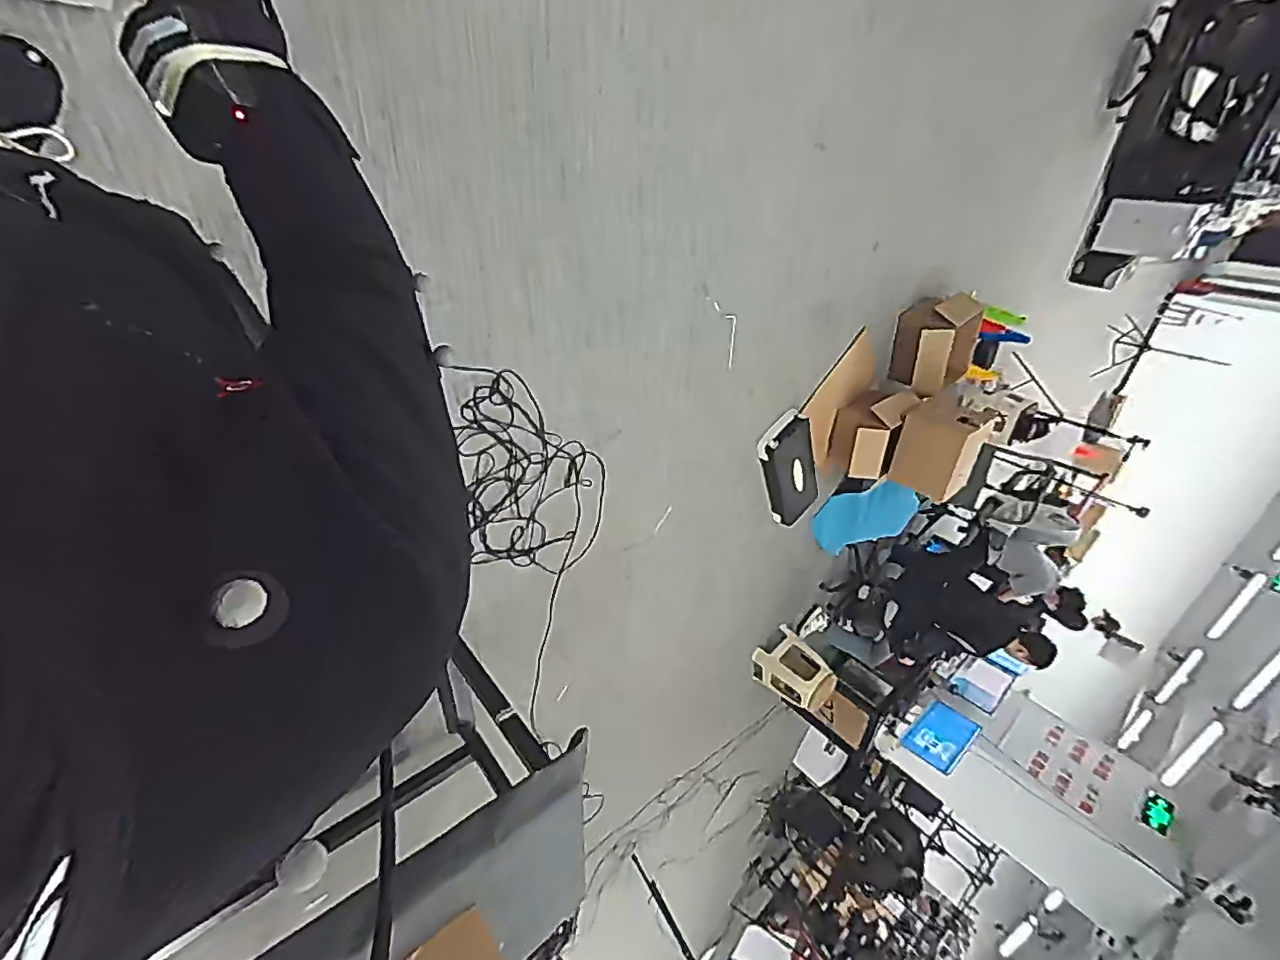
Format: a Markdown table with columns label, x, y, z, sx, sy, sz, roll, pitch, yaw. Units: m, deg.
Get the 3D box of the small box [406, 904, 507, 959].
| label | x | y | z | sx | sy | sz | roll | pitch | yaw |
| --- | --- | --- | --- | --- | --- | --- | --- | --- | --- |
| small box | -0.389 | 1.083 | 1.172 | 0.179 | 0.176 | 0.168 | -19 | 126 | -35 |
